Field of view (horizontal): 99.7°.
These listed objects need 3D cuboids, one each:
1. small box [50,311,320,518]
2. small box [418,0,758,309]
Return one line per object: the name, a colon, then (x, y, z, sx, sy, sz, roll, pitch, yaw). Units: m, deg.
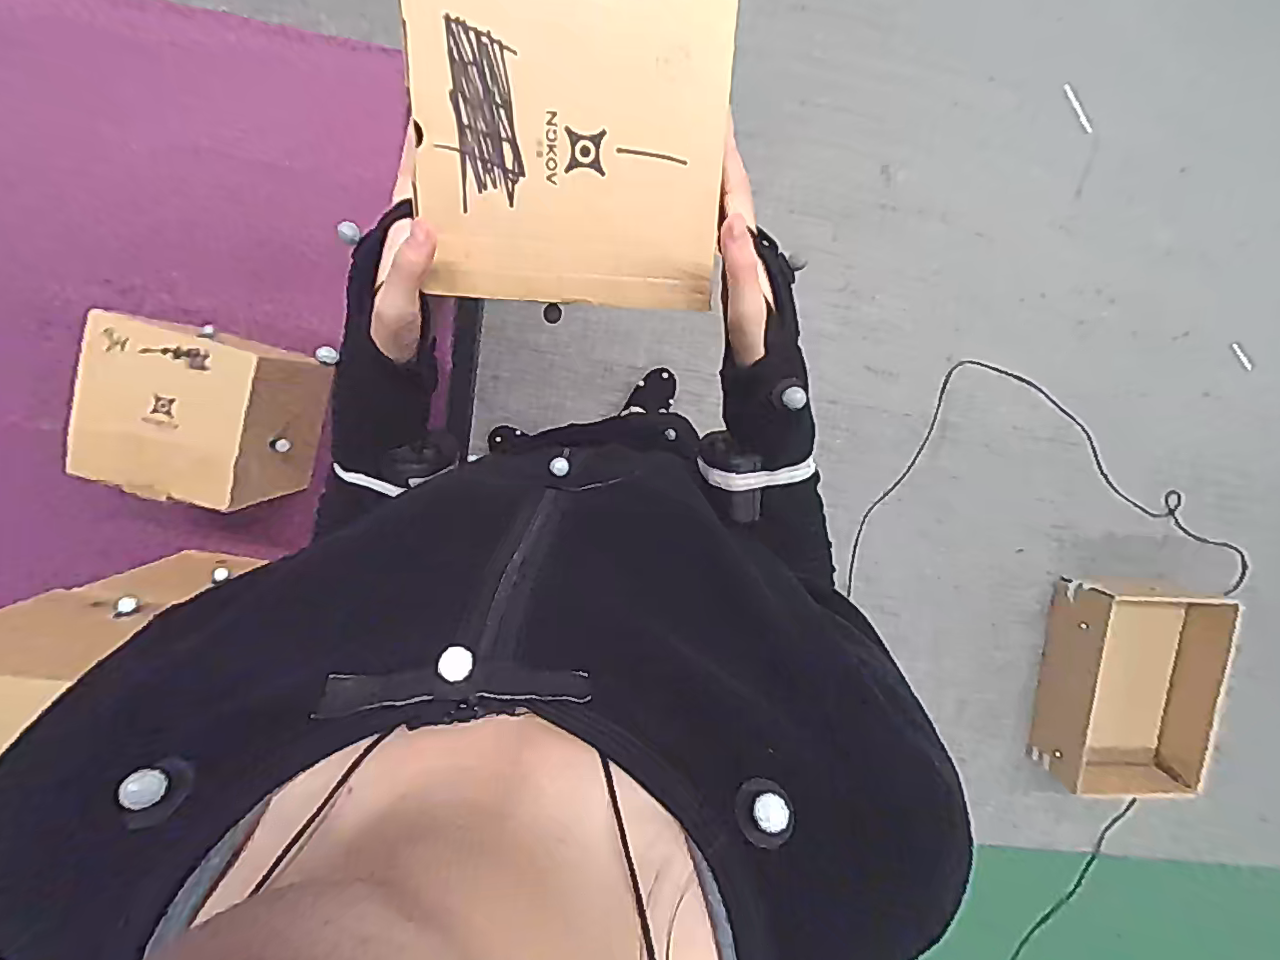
small box: (-0.505, -0.075, 0.627, 0.168, 0.176, 0.179, 15, 97, -8)
small box: (-0.036, -0.209, 0.371, 0.179, 0.176, 0.168, 2, 108, -6)
